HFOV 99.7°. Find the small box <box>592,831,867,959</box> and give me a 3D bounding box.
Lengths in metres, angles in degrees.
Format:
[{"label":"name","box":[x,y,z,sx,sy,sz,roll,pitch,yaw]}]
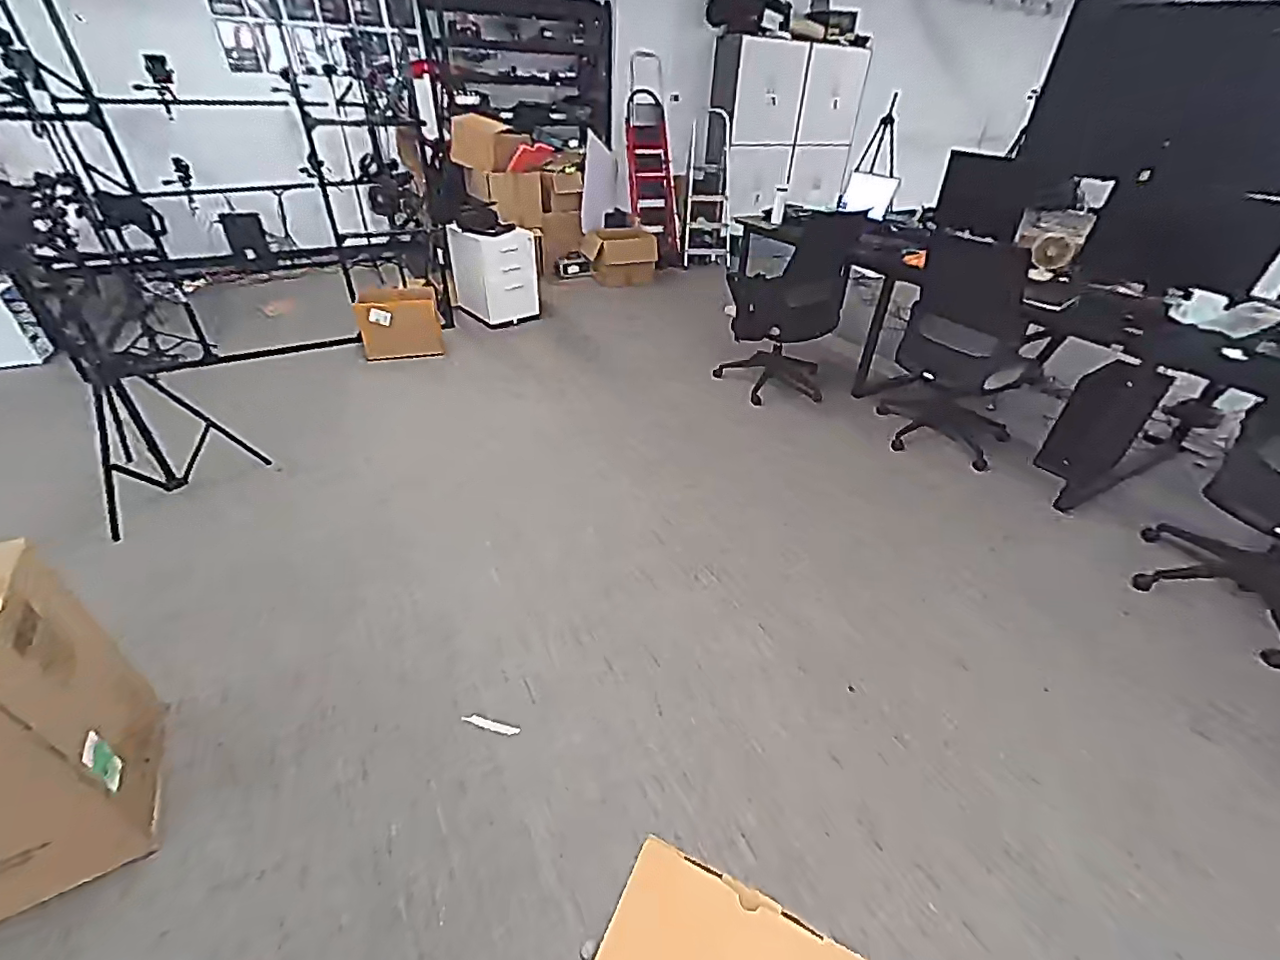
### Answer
[{"label":"small box","box":[0.044,0.396,0.377,0.168,0.176,0.179,17,48,21]}]
